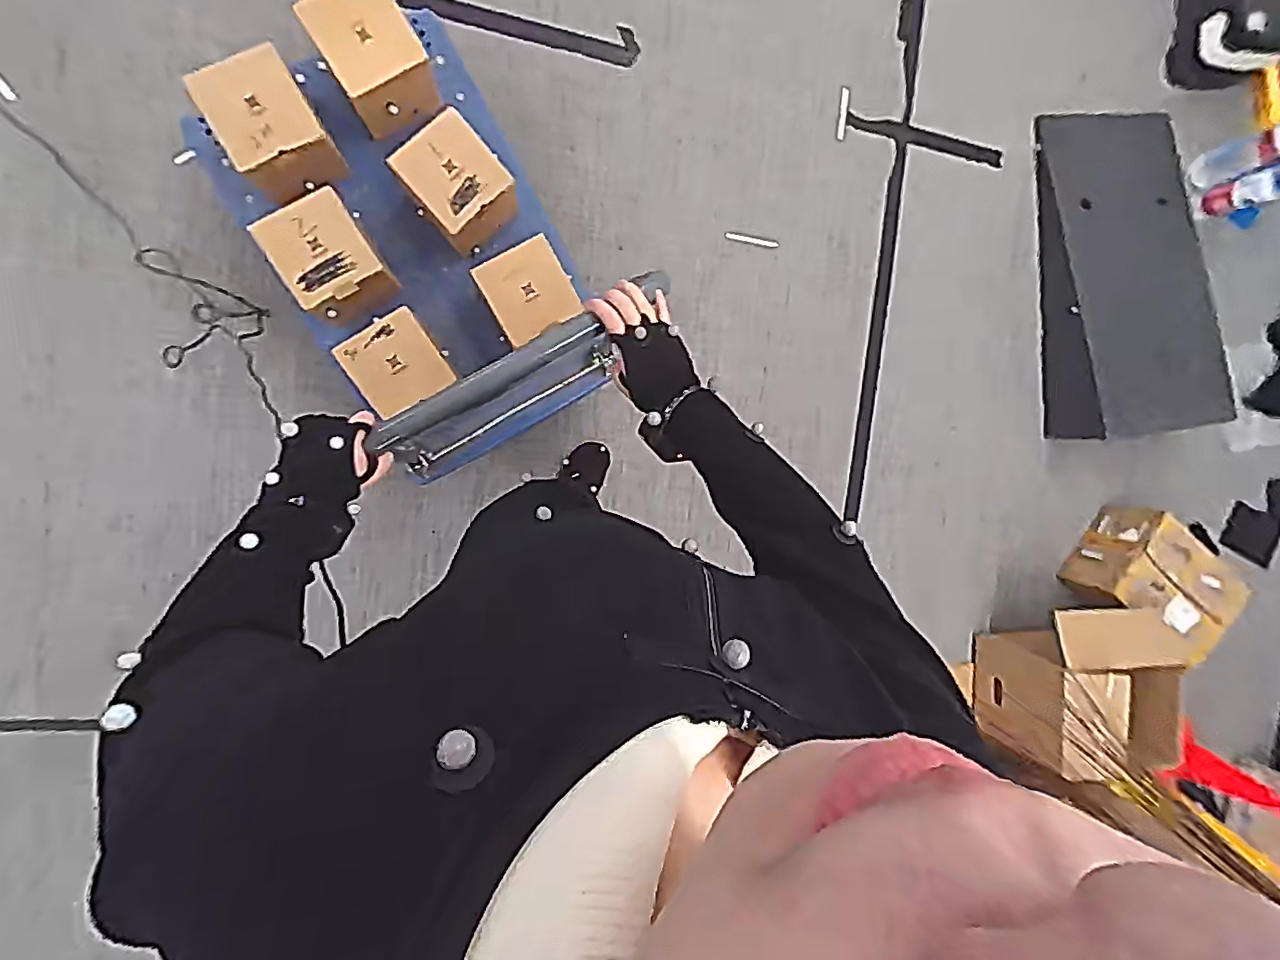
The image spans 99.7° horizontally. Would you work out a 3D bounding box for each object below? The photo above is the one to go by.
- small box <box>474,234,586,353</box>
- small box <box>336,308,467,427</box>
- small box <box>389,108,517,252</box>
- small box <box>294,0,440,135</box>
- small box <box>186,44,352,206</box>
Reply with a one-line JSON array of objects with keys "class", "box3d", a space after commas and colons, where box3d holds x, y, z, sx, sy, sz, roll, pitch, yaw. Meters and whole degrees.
[{"class": "small box", "box3d": [-0.232, -0.387, 1.163, 0.168, 0.176, 0.179, -31, 100, -7]}, {"class": "small box", "box3d": [-0.482, -0.228, 1.128, 0.168, 0.176, 0.179, -35, 101, -7]}, {"class": "small box", "box3d": [-0.371, -0.599, 1.113, 0.168, 0.176, 0.179, -43, 101, -4]}, {"class": "small box", "box3d": [-0.520, -0.822, 1.063, 0.168, 0.176, 0.179, -34, 101, -6]}, {"class": "small box", "box3d": [-0.698, -0.670, 1.042, 0.168, 0.176, 0.179, -30, 101, -7]}]
